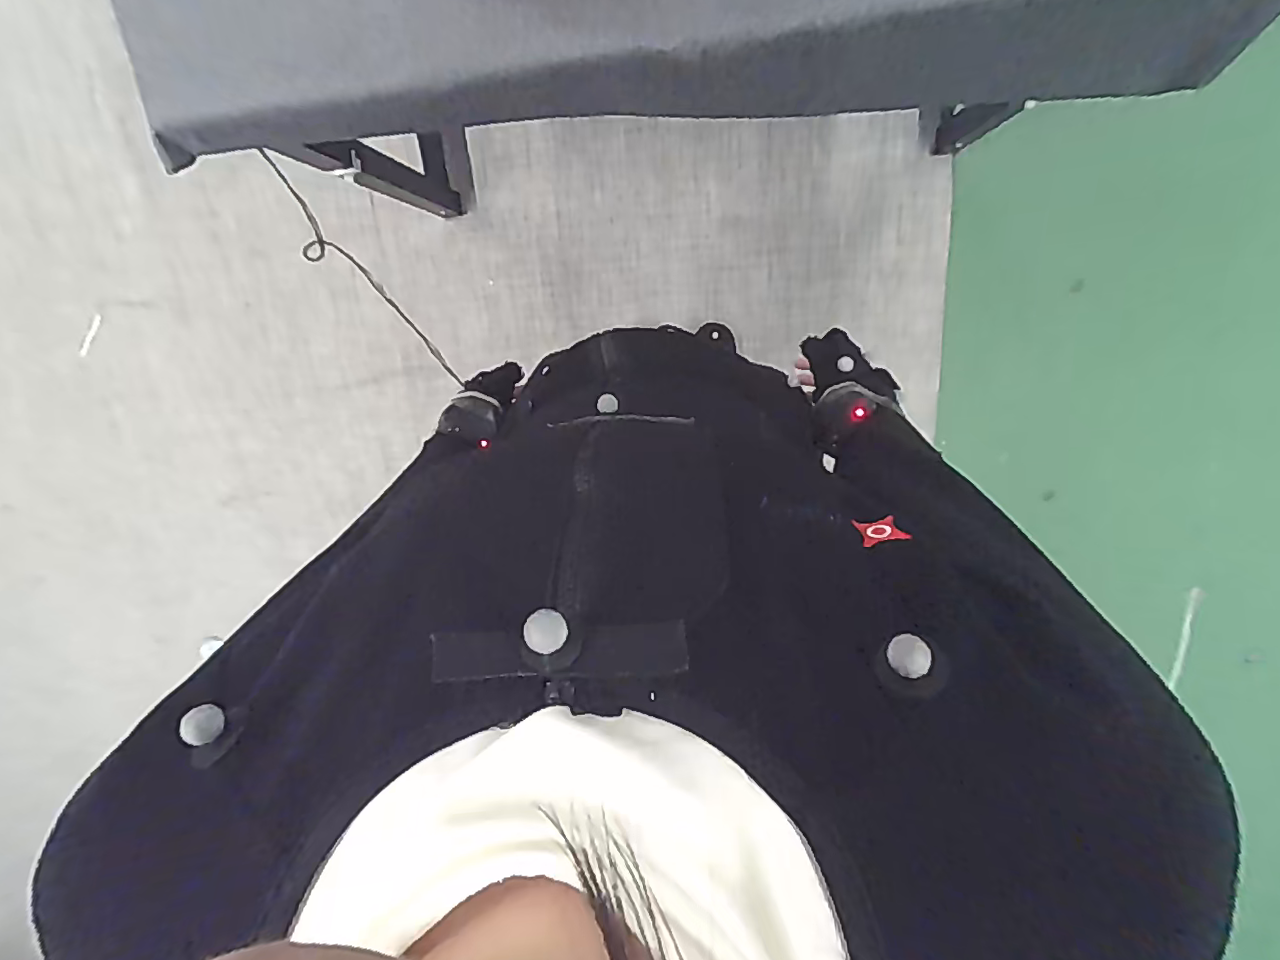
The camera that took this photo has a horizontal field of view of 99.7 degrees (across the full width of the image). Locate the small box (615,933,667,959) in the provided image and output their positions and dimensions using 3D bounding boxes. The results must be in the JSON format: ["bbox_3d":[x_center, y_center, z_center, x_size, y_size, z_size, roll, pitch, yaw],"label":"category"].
[{"bbox_3d":[0.003,1.740,1.901,0.179,0.176,0.168,-4,107,5],"label":"small box"}]
